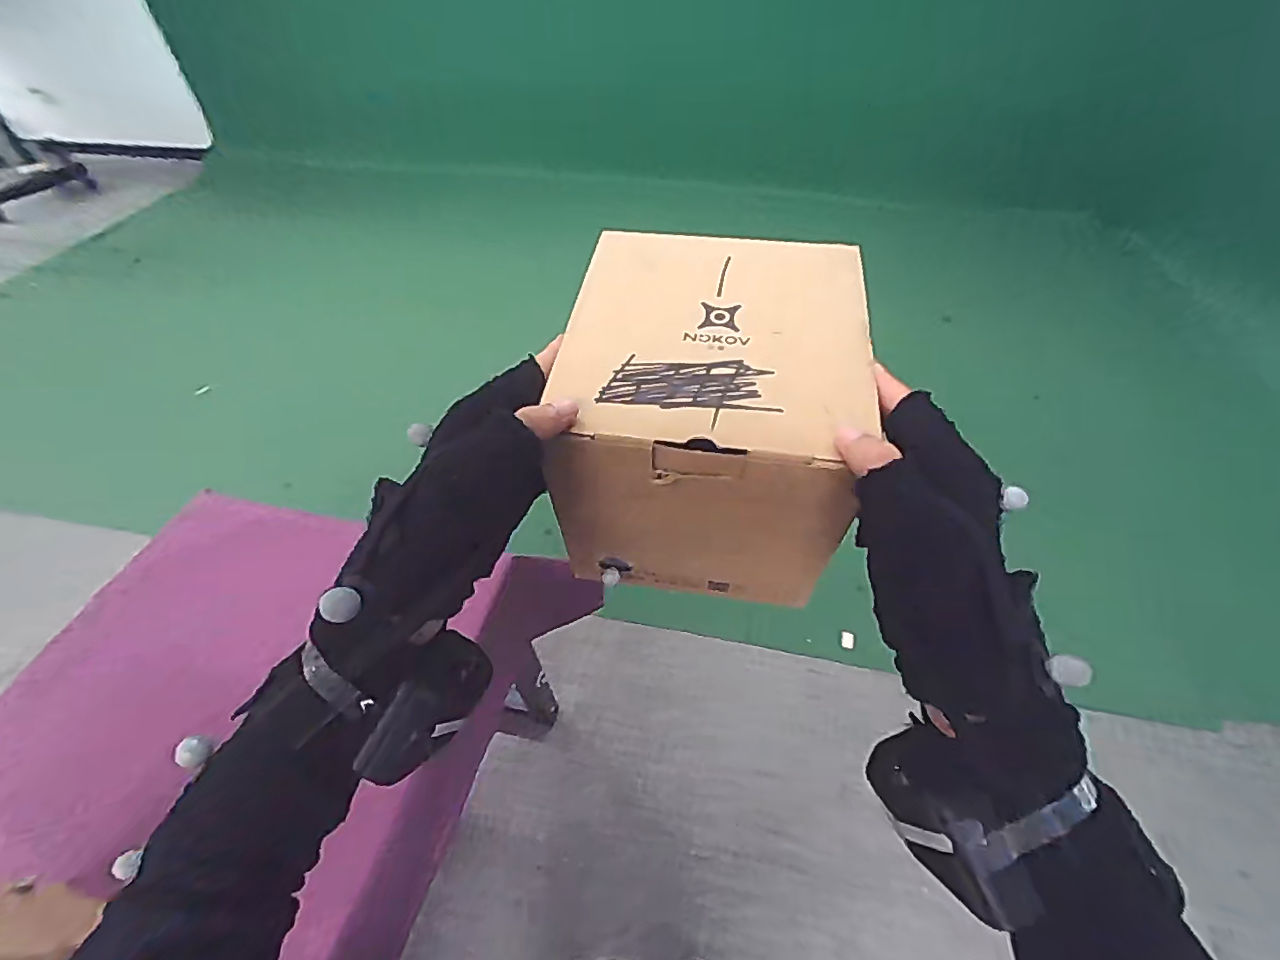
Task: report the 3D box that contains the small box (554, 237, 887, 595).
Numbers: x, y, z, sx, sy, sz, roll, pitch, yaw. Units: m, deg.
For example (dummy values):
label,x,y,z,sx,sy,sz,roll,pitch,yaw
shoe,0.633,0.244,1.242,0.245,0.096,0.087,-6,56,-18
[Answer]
label,x,y,z,sx,sy,sz,roll,pitch,yaw
small box,0.054,-0.038,0.372,0.168,0.176,0.179,7,55,7

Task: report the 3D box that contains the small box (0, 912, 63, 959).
label,x,y,z,sx,sy,sz,roll,pitch,yaw
small box,-0.570,0.375,0.348,0.179,0.176,0.168,11,51,11
